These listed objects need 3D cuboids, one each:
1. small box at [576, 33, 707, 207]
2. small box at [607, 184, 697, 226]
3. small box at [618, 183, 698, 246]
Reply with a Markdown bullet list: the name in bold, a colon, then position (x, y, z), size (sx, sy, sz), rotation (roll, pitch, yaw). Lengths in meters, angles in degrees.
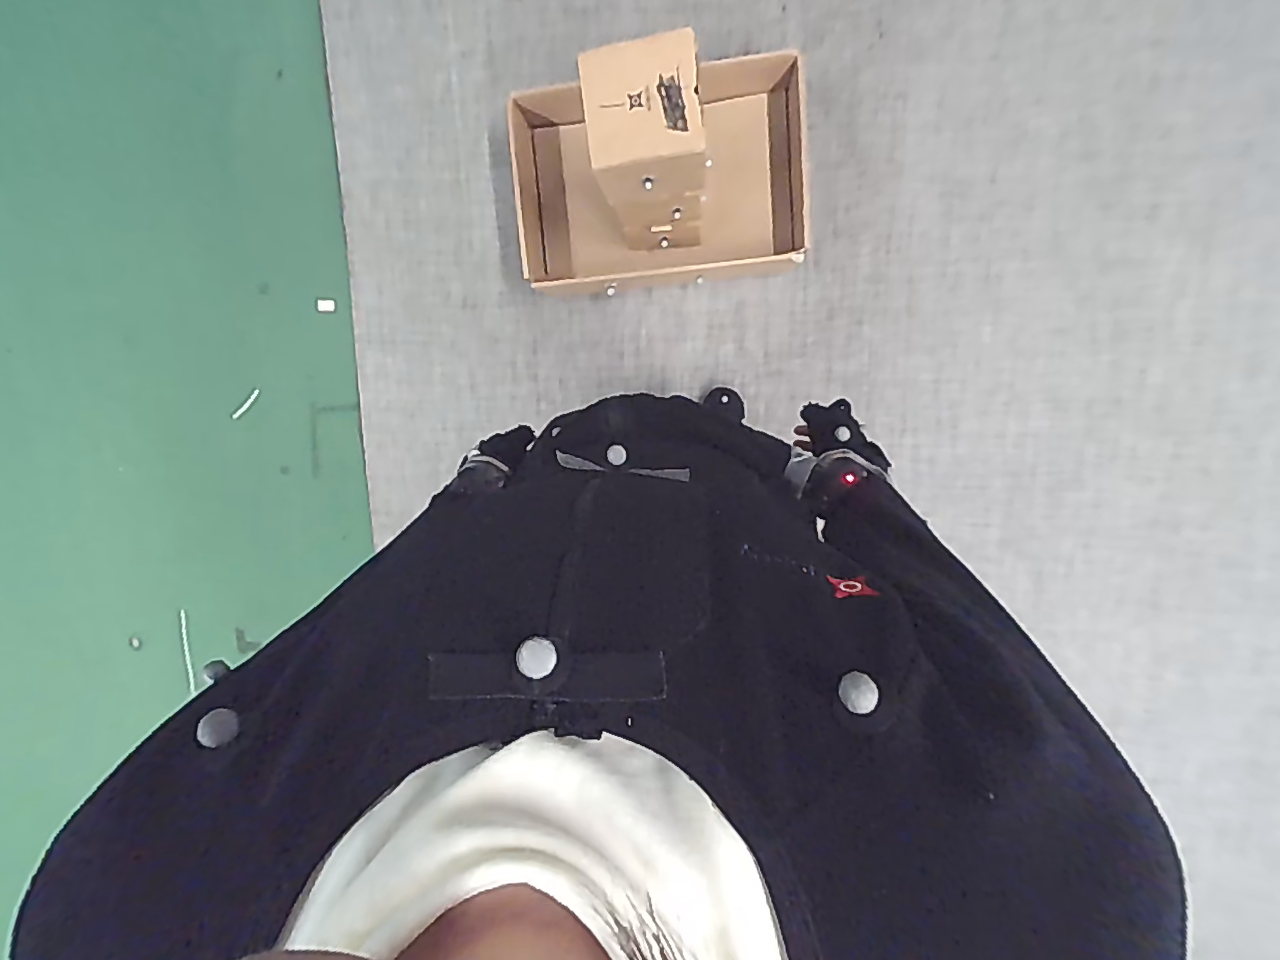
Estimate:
- **small box**: position (0.008, -0.572, 0.884), size (0.179, 0.176, 0.168), rotation (-9, 98, 7)
- **small box**: position (0.025, -0.606, 1.044), size (0.168, 0.176, 0.179), rotation (-2, 98, 6)
- **small box**: position (0.044, -0.630, 1.203), size (0.168, 0.176, 0.179), rotation (-1, 99, 7)
